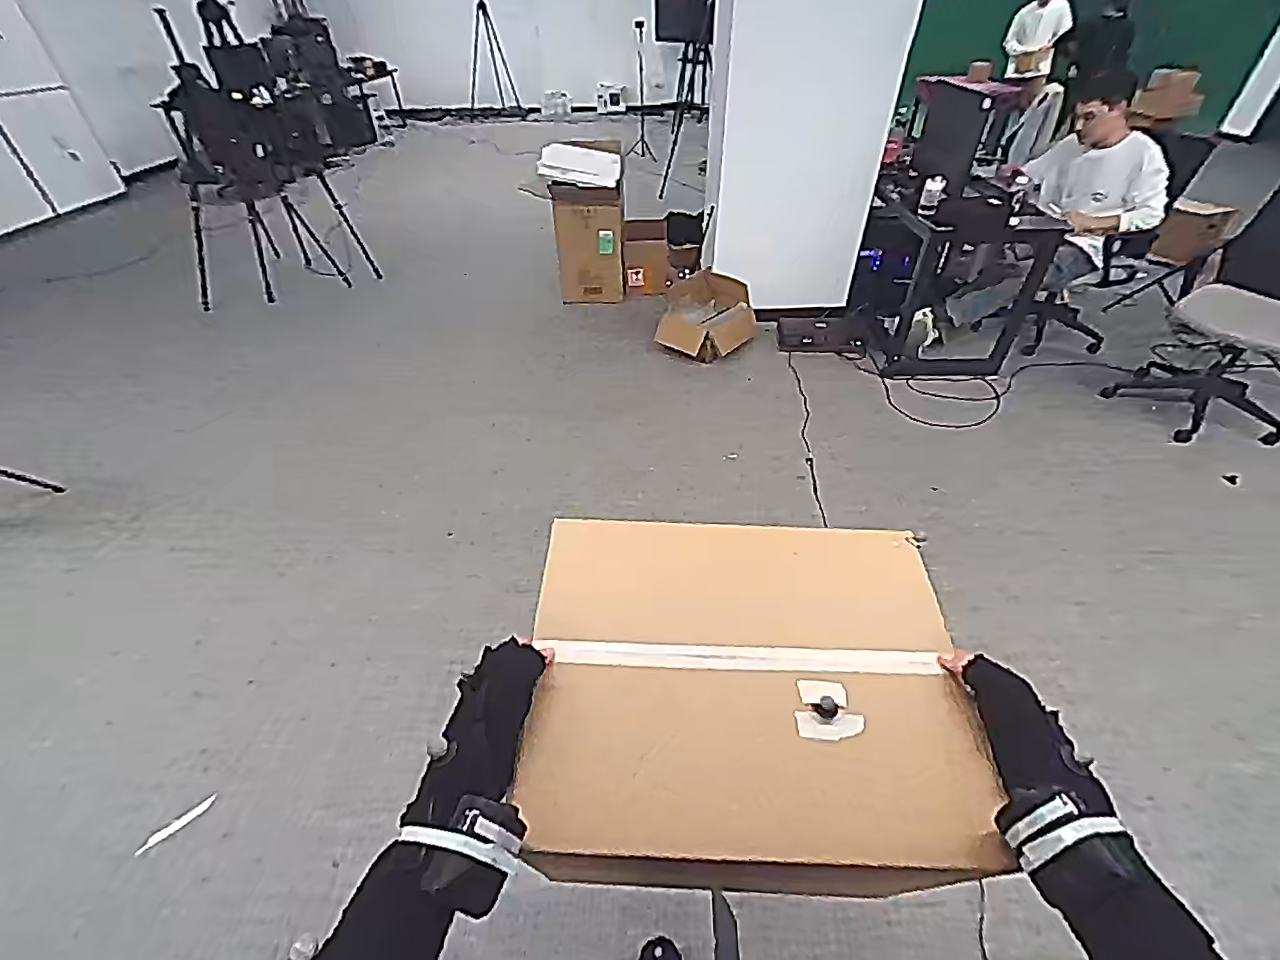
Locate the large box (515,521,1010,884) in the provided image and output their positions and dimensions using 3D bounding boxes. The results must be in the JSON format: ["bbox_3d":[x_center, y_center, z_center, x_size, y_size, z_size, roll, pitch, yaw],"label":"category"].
[{"bbox_3d":[0.095,0.266,0.633,0.408,0.320,0.320,2,50,0],"label":"large box"}]
